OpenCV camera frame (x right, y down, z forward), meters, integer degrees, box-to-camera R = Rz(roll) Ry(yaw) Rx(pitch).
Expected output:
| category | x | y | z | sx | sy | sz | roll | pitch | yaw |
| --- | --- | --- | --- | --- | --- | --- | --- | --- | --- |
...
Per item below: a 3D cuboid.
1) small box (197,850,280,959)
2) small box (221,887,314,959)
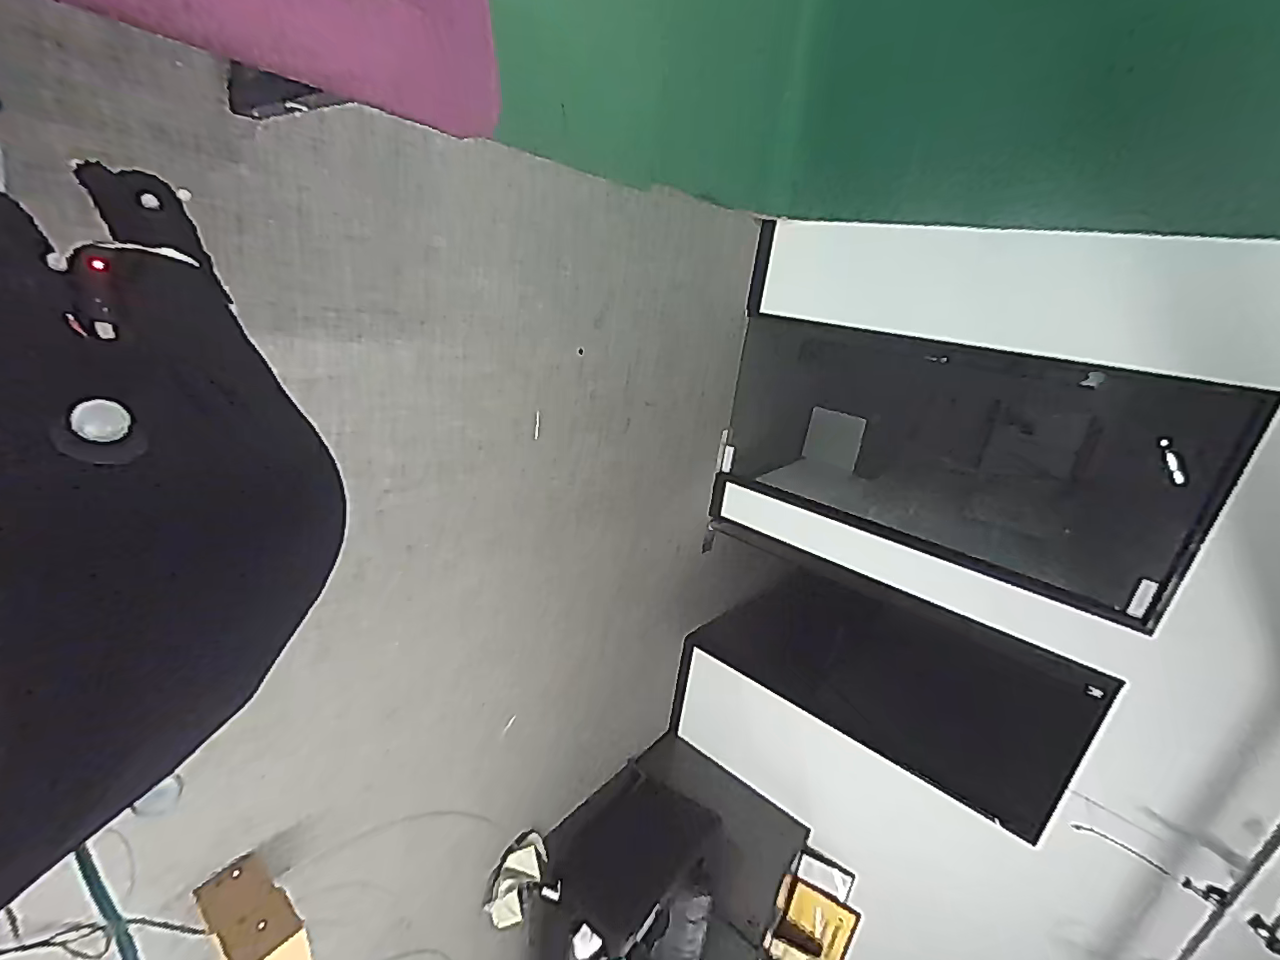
| category | x | y | z | sx | sy | sz | roll | pitch | yaw |
| --- | --- | --- | --- | --- | --- | --- | --- | --- | --- |
| small box | -1.201 | 1.279 | 1.633 | 0.168 | 0.176 | 0.179 | -21 | 124 | -48 |
| small box | -1.067 | 1.324 | 1.548 | 0.168 | 0.176 | 0.179 | -21 | 124 | -48 |
